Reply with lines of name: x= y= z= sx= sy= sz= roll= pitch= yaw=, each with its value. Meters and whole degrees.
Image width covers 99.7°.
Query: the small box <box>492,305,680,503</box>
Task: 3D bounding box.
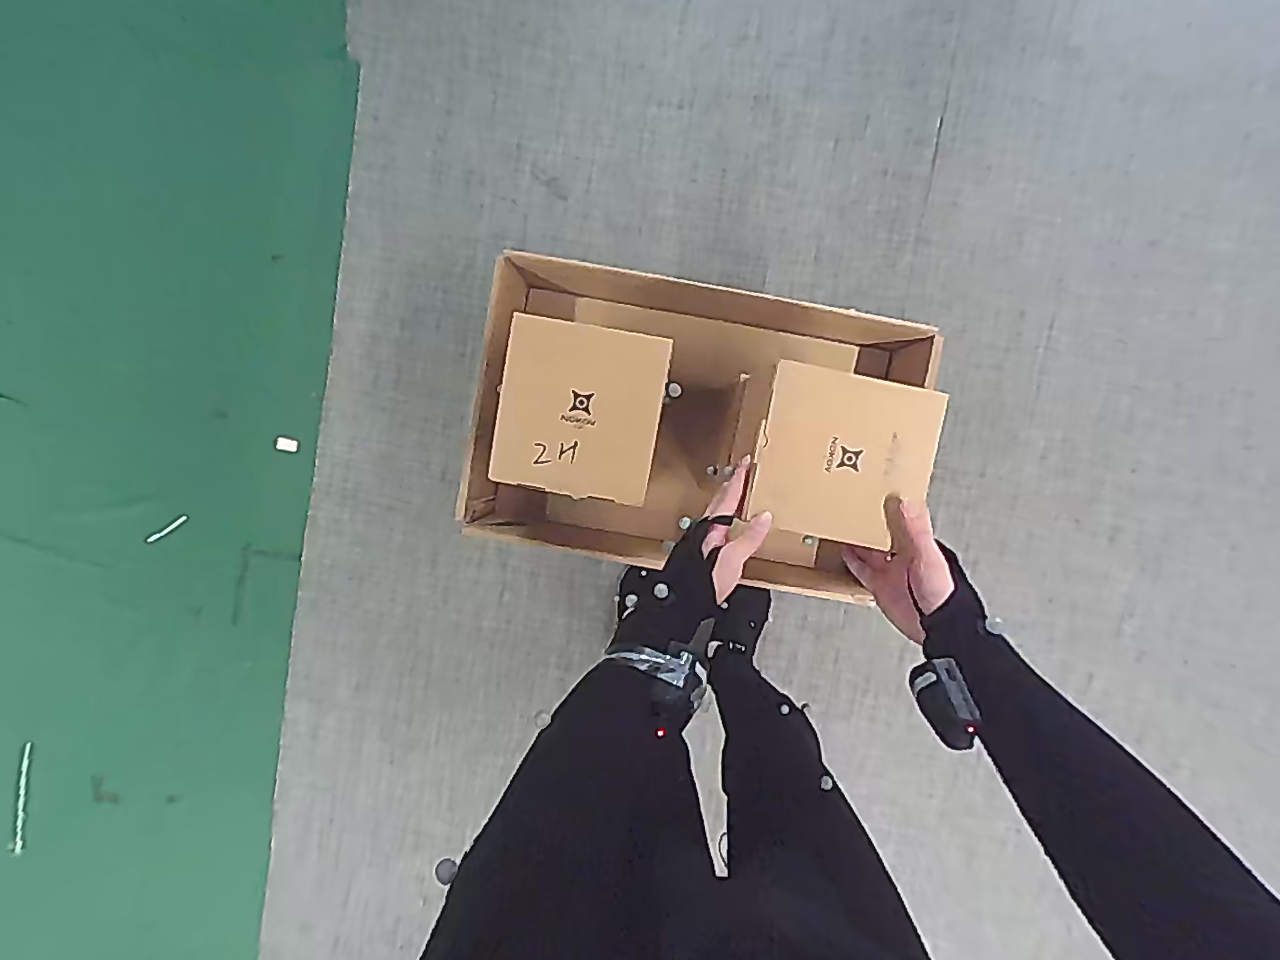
small box: x=-0.055 y=-0.081 z=0.623 sx=0.168 sy=0.176 sz=0.179 roll=11 pitch=94 yaw=0

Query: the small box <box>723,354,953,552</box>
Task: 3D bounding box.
small box: x=0.202 y=-0.029 z=0.606 sx=0.179 sy=0.176 sz=0.168 roll=12 pitch=93 yaw=-2
